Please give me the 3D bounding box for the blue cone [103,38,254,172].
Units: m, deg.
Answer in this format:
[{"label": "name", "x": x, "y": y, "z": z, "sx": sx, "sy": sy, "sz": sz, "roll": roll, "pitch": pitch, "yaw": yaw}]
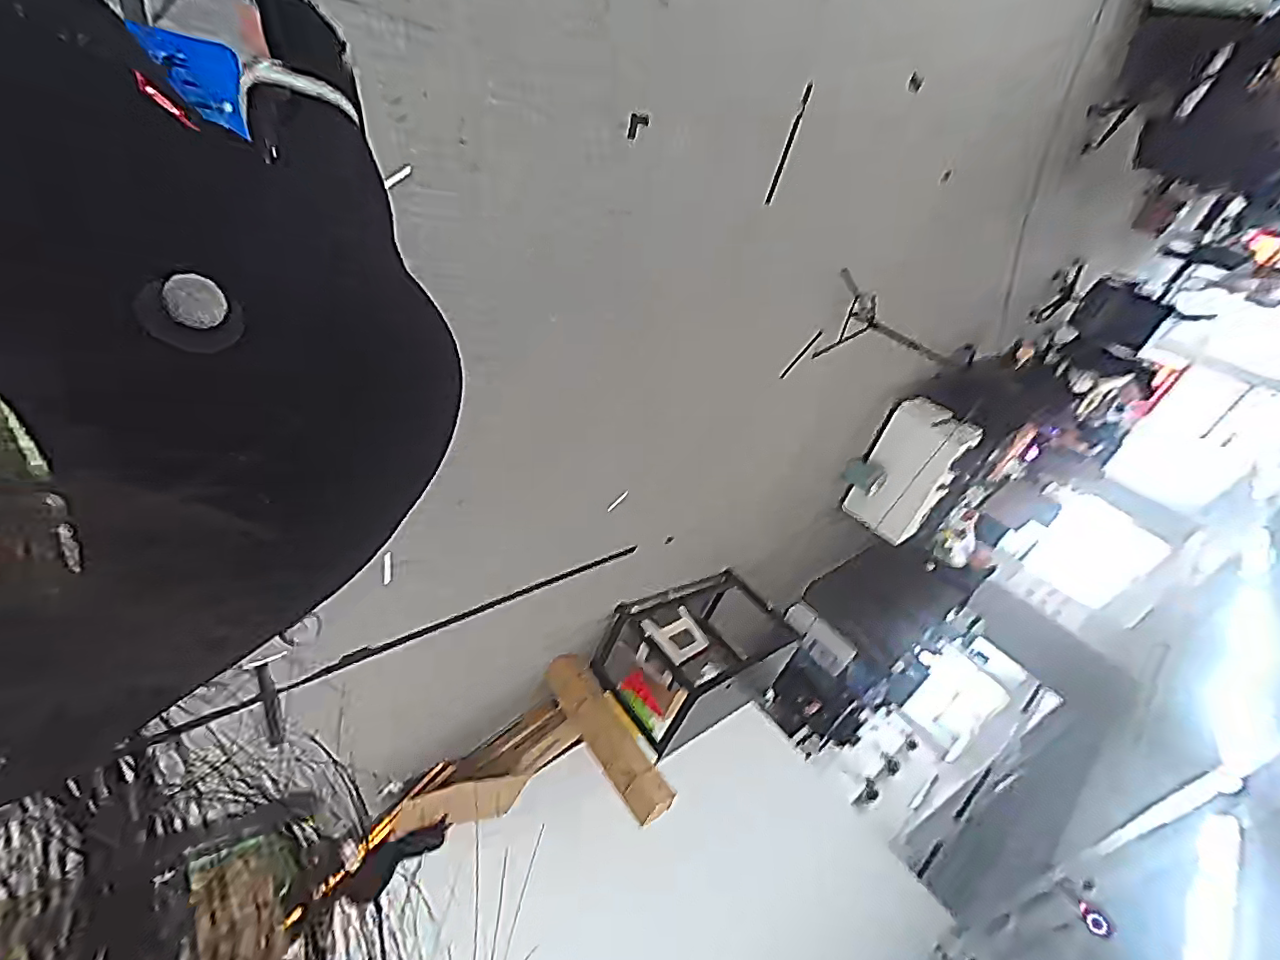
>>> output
[{"label": "blue cone", "x": -0.723, "y": -0.581, "z": 0.890, "sx": 0.193, "sy": 0.380, "sz": 0.192, "roll": -18, "pitch": 135, "yaw": -39}]
